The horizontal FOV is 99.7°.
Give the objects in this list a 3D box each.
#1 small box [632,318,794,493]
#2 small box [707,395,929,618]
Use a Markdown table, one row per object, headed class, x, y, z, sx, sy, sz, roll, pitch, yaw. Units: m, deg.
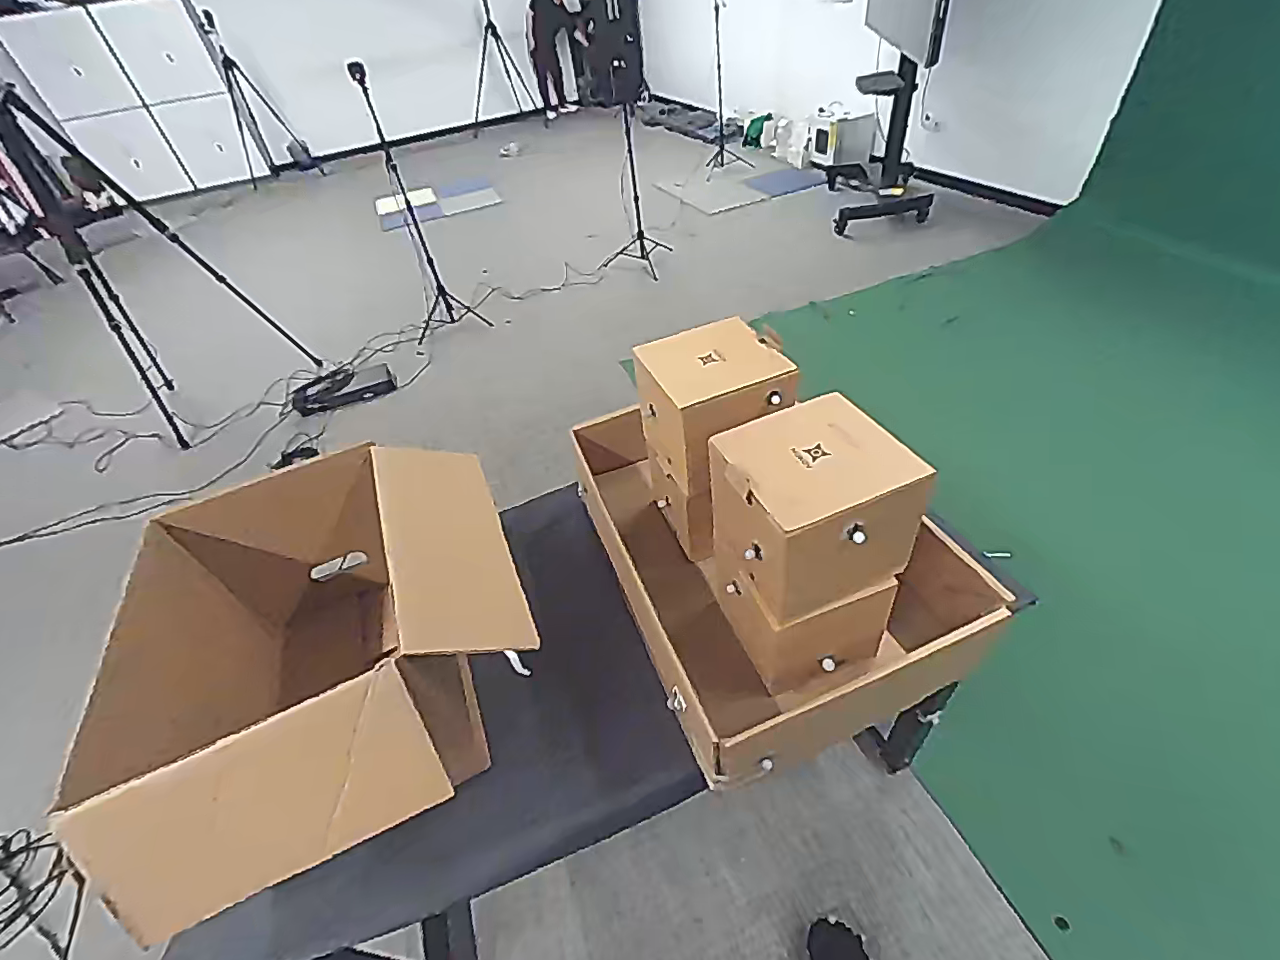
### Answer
| class | x | y | z | sx | sy | sz | roll | pitch | yaw |
| --- | --- | --- | --- | --- | --- | --- | --- | --- | --- |
| small box | 0.105 | -0.108 | 0.800 | 0.179 | 0.176 | 0.168 | -20 | 46 | -11 |
| small box | 0.196 | 0.032 | 0.636 | 0.179 | 0.176 | 0.168 | -20 | 45 | -10 |
